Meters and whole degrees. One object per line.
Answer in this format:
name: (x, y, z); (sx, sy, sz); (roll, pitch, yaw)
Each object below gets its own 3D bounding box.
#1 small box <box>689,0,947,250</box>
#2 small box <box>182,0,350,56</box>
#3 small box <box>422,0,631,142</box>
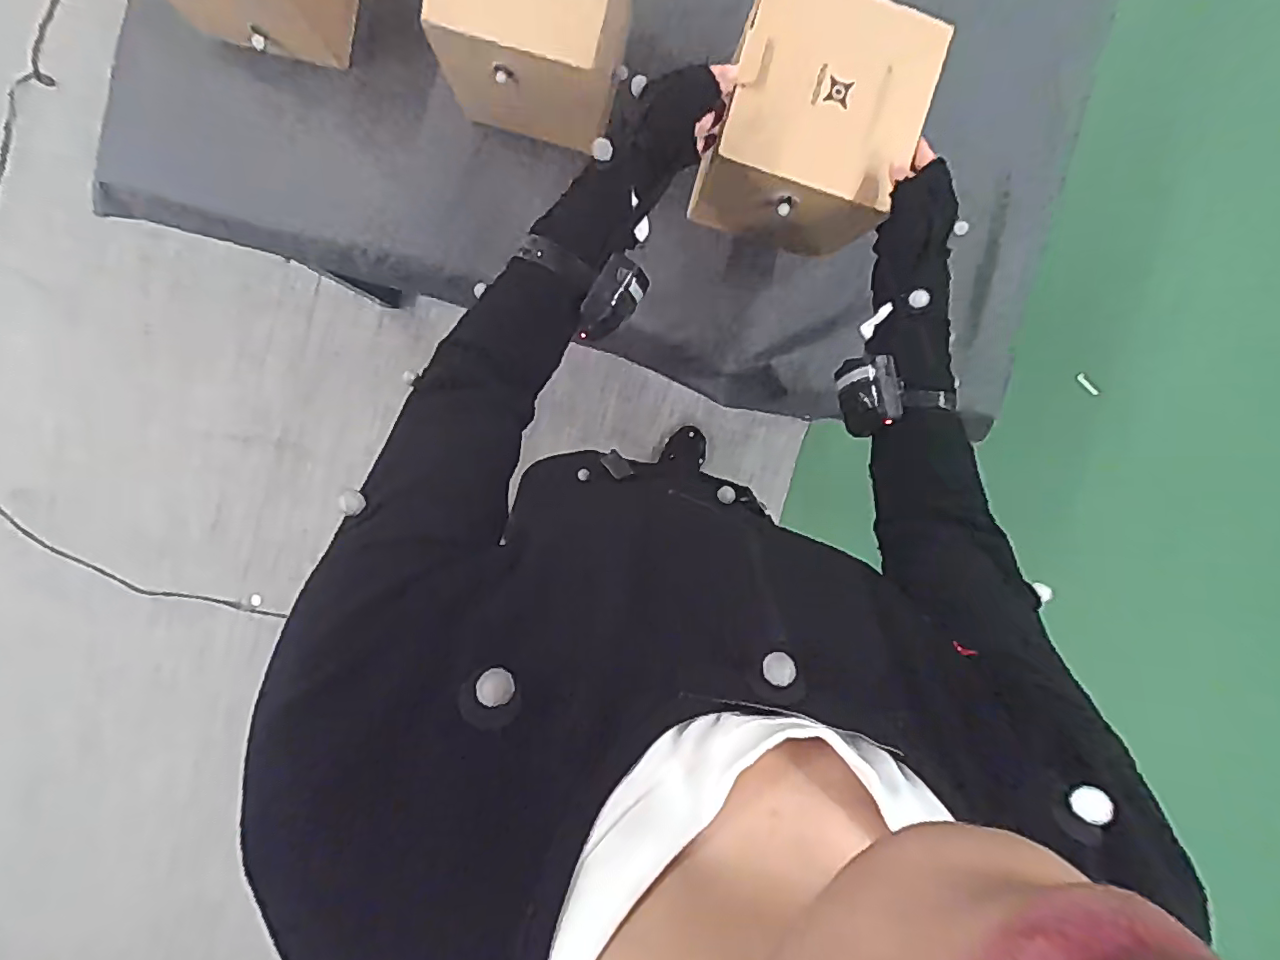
small box: (0.161, -0.357, 0.554); (0.179, 0.176, 0.168); (14, 98, -7)
small box: (-0.433, -0.614, 0.590); (0.179, 0.176, 0.168); (12, 95, -3)
small box: (-0.112, -0.519, 0.607); (0.179, 0.176, 0.168); (14, 95, -3)
